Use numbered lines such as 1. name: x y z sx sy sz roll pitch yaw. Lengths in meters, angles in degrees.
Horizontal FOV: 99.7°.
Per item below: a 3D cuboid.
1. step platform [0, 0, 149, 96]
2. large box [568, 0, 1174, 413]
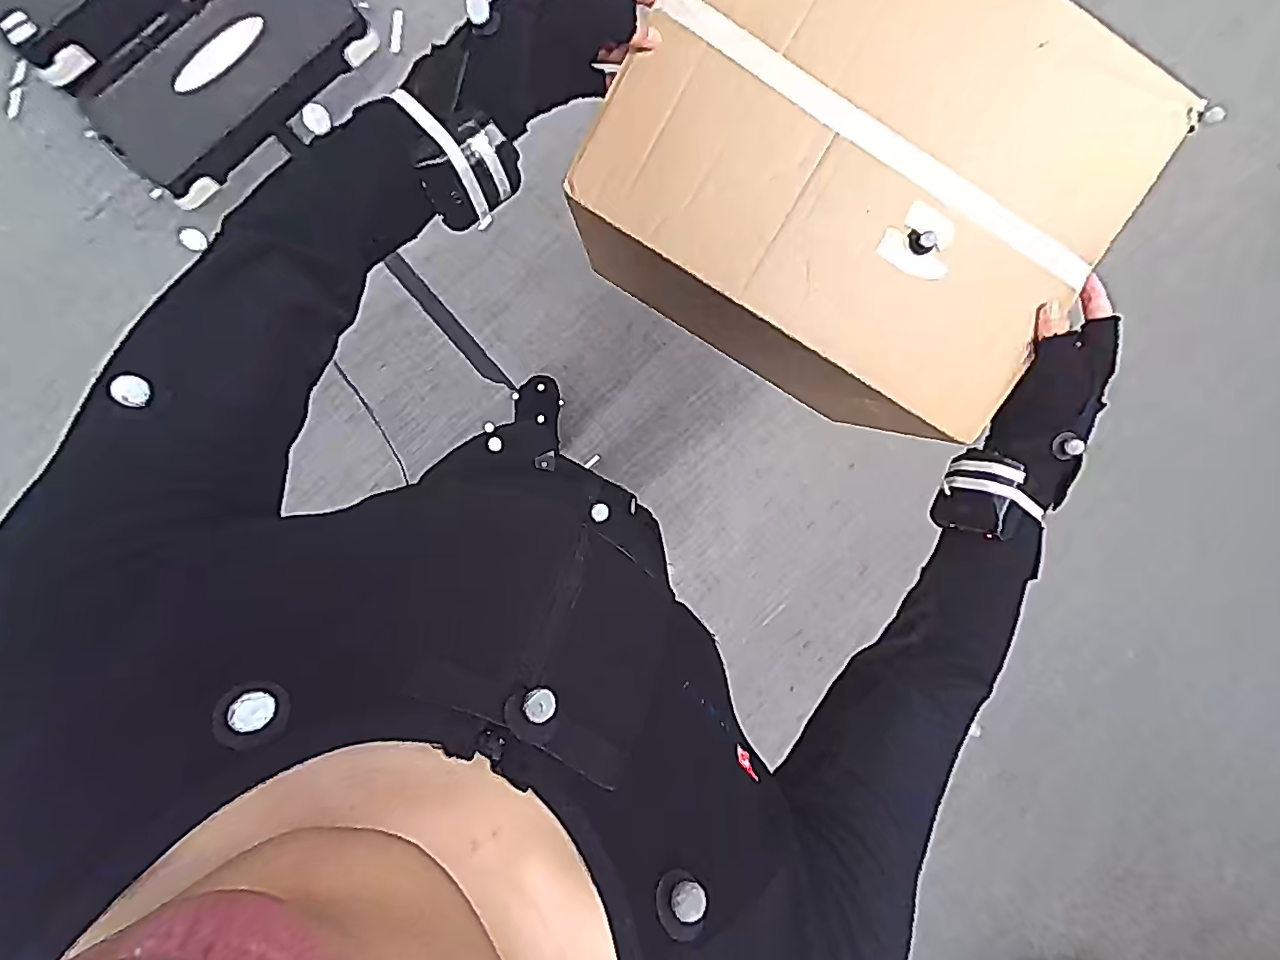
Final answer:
1. step platform: -1.137 -1.246 1.236 0.684 0.204 0.286 -44 96 -3
2. large box: 0.179 -0.305 0.579 0.408 0.320 0.320 28 99 -6
